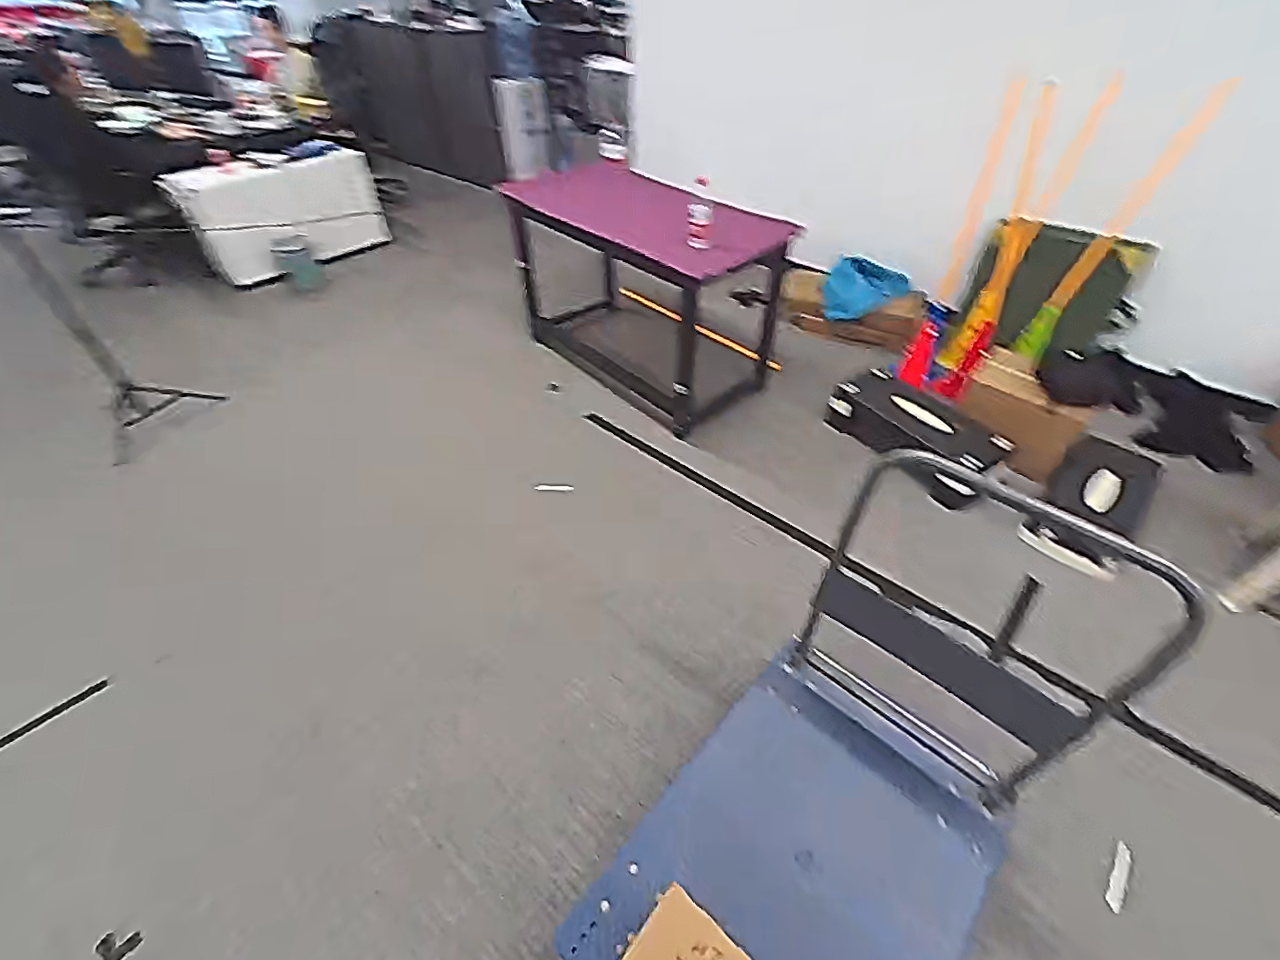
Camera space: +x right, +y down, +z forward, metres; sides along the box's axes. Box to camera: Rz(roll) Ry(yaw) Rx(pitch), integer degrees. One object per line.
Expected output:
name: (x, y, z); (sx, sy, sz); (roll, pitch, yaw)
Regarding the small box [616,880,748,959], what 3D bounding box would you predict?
small box: (0.061, 0.831, 0.907); (0.168, 0.176, 0.179); (33, 52, 28)
